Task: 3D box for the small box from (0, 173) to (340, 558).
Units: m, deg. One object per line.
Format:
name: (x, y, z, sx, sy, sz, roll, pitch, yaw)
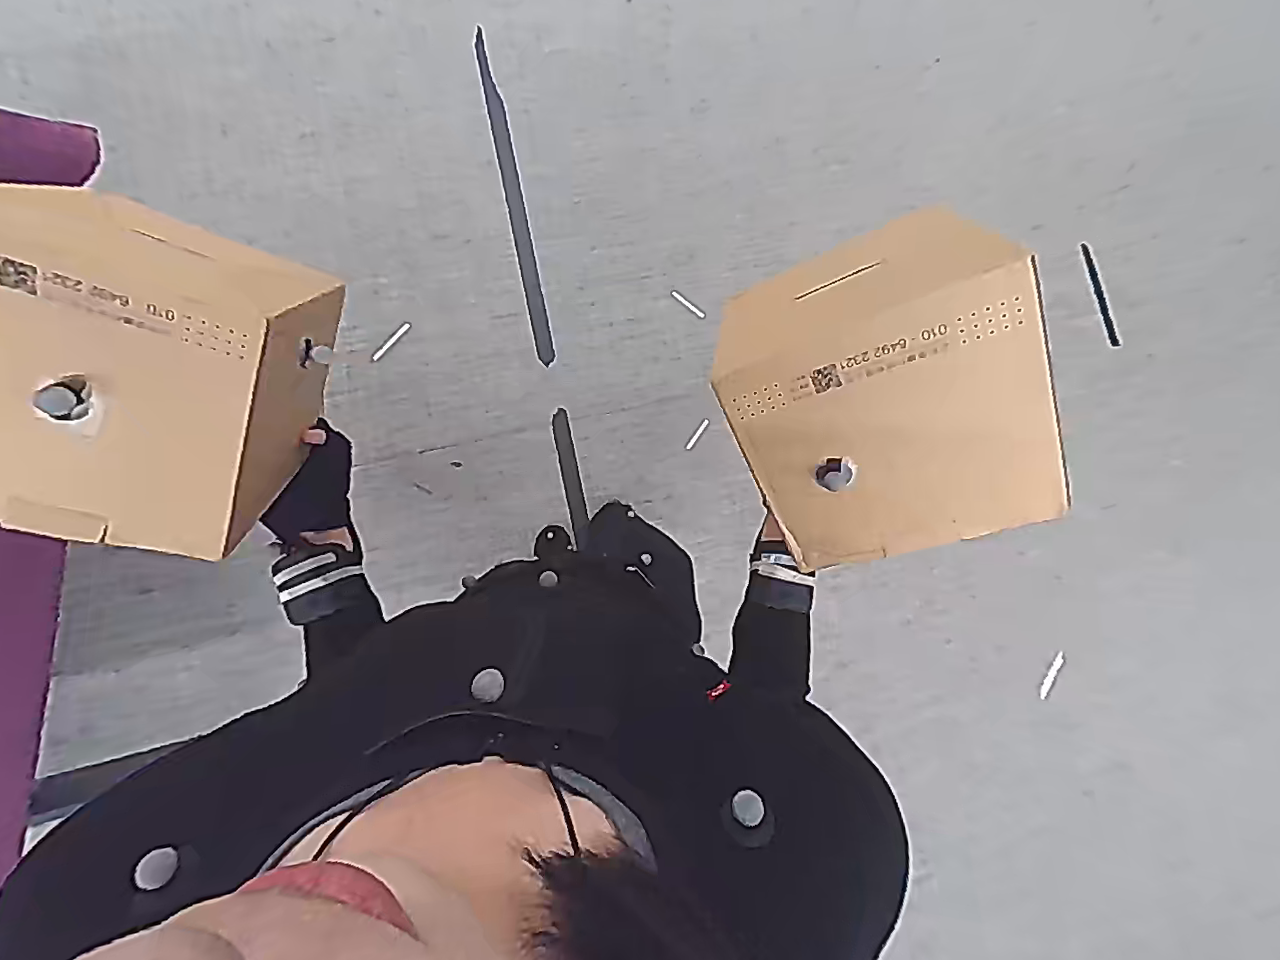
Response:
small box: (-0.319, -0.080, 0.350, 0.168, 0.179, 0.176, 18, 109, -21)
